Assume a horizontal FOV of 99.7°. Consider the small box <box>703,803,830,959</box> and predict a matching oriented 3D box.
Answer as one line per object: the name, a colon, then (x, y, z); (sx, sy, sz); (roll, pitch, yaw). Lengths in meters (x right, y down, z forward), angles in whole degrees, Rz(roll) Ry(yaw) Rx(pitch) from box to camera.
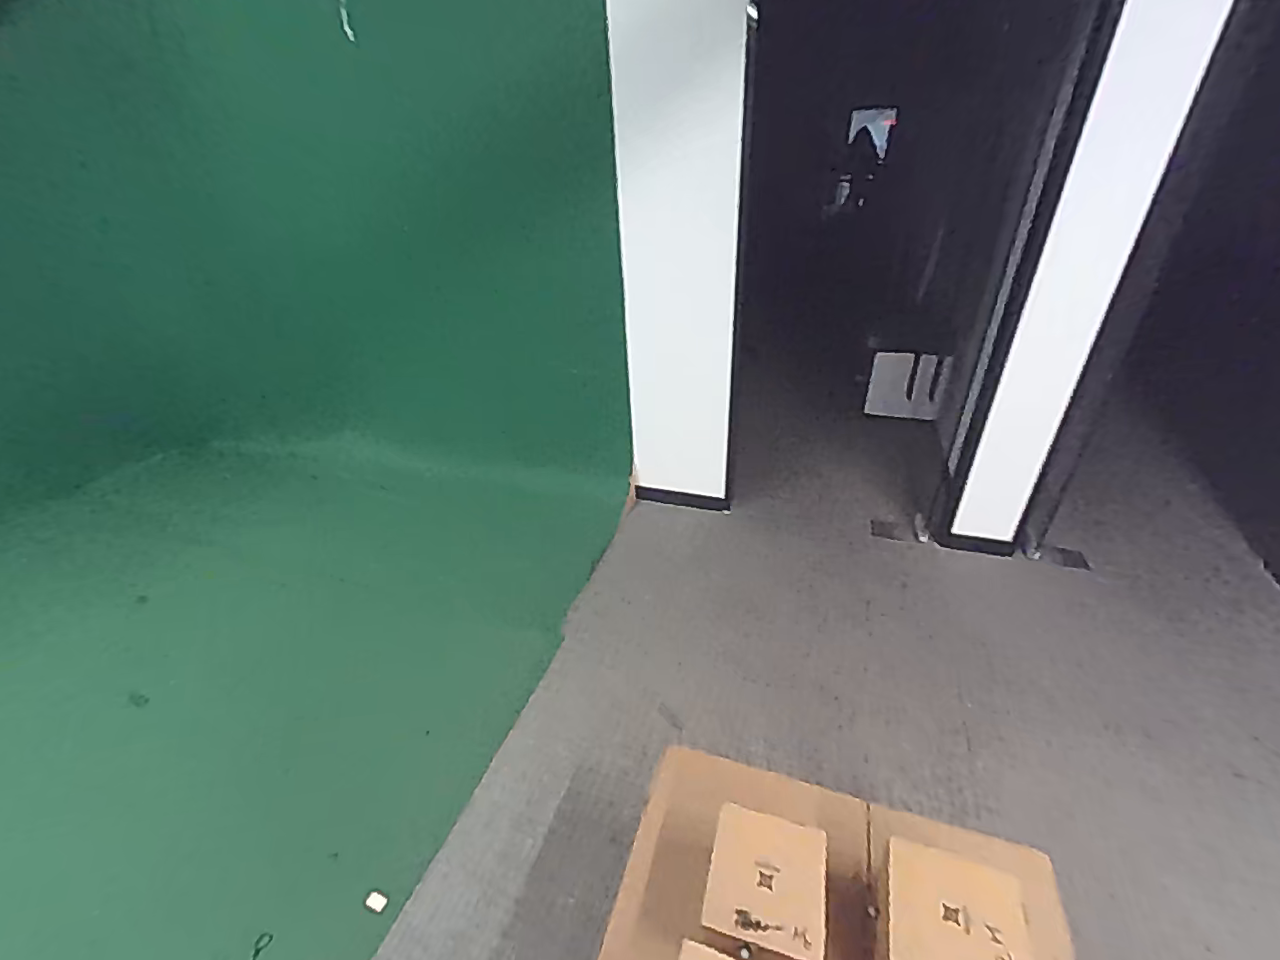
small box: (0.193, 0.646, 0.826); (0.168, 0.176, 0.179); (6, 32, 18)
